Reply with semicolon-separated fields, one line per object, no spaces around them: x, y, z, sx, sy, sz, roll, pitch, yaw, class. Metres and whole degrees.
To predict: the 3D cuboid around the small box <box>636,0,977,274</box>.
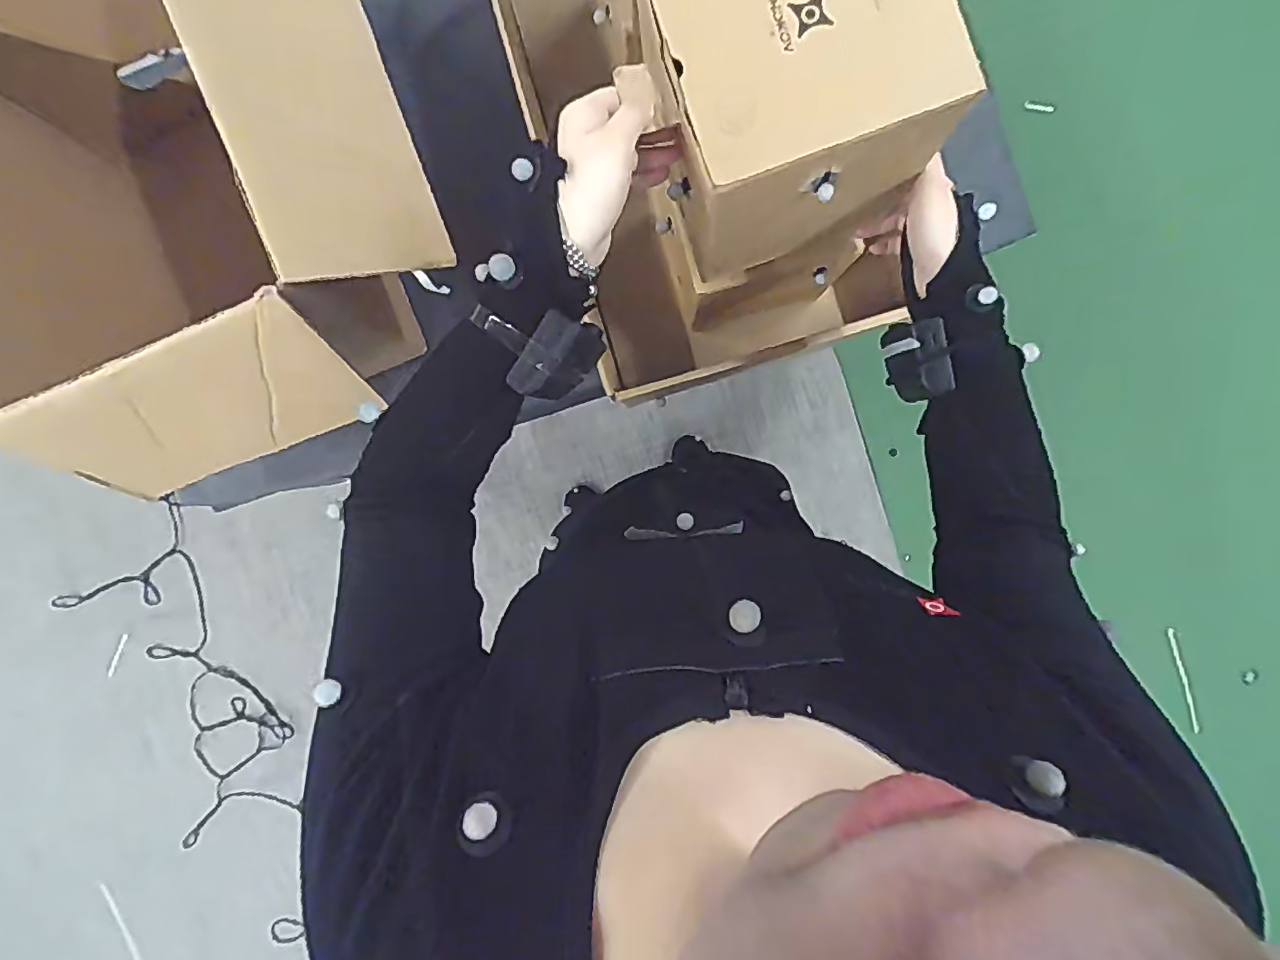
0.108;-0.287;0.418;0.179;0.176;0.168;-19;89;4;small box
